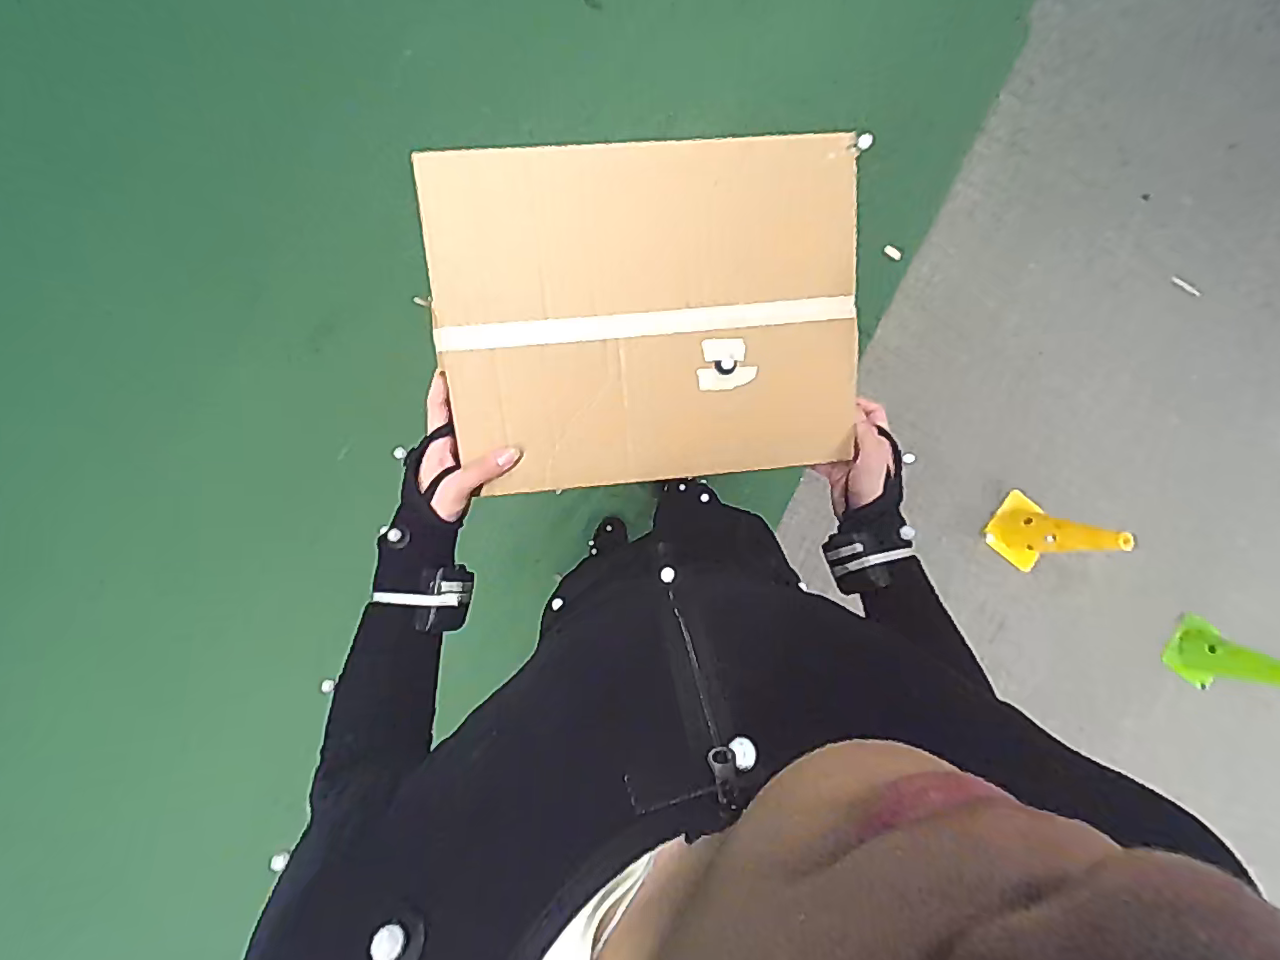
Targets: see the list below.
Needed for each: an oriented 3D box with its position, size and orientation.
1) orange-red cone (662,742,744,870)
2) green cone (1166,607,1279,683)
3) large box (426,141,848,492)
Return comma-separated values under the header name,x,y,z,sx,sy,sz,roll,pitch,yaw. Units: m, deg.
name,x,y,z,sx,sy,sz,roll,pitch,yaw
orange-red cone,0.204,0.915,1.463,0.198,0.360,0.199,35,88,-3
green cone,1.878,0.540,1.623,0.202,0.368,0.200,33,86,-2
large box,-0.003,-0.184,0.677,0.408,0.320,0.320,-5,102,-5
